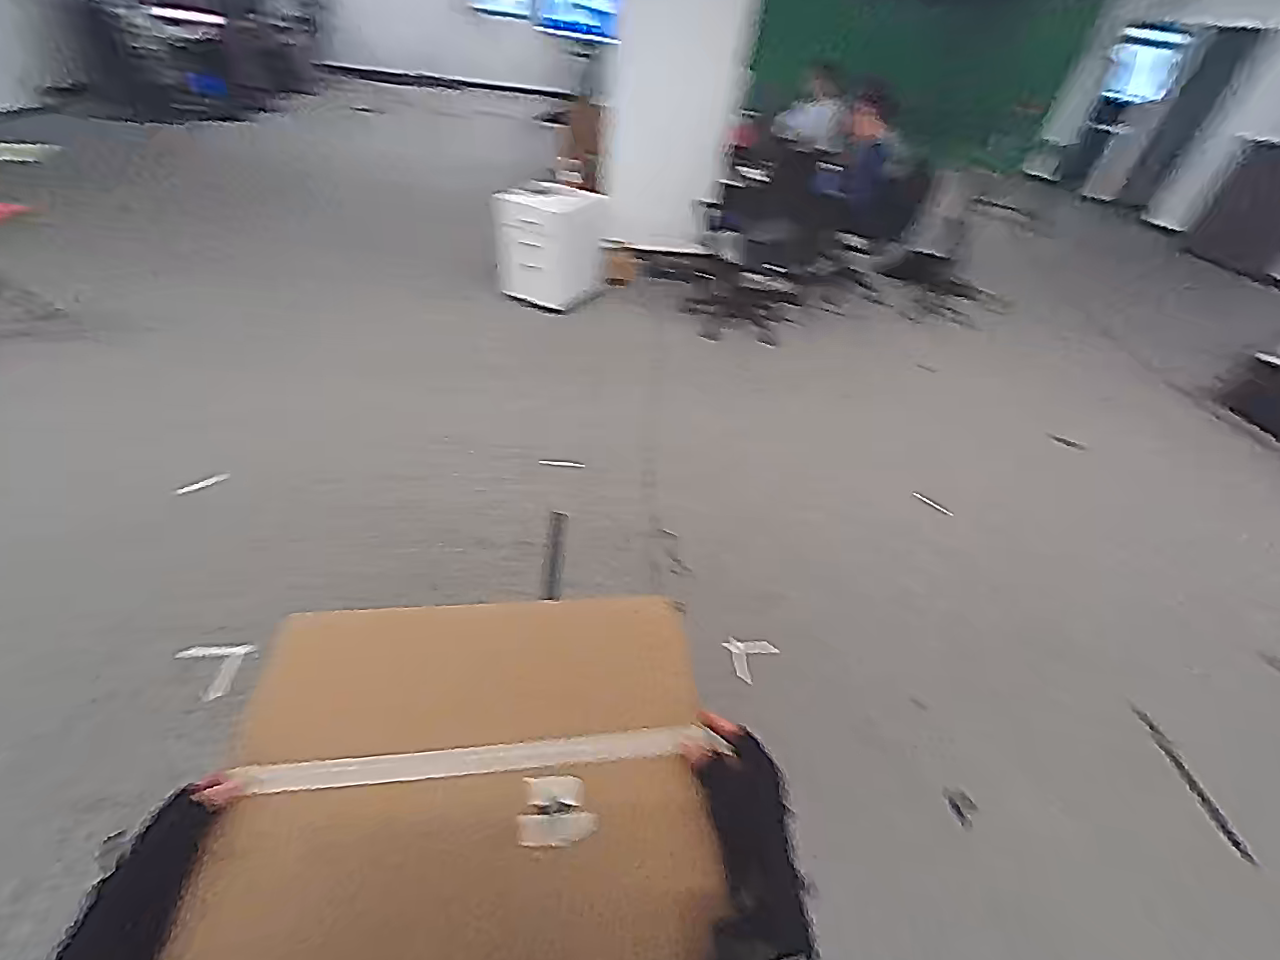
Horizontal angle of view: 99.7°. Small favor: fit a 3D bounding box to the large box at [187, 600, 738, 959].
[{"bbox_3d":[-0.152,0.353,0.593,0.408,0.320,0.320,0,47,-9],"label":"large box"}]
